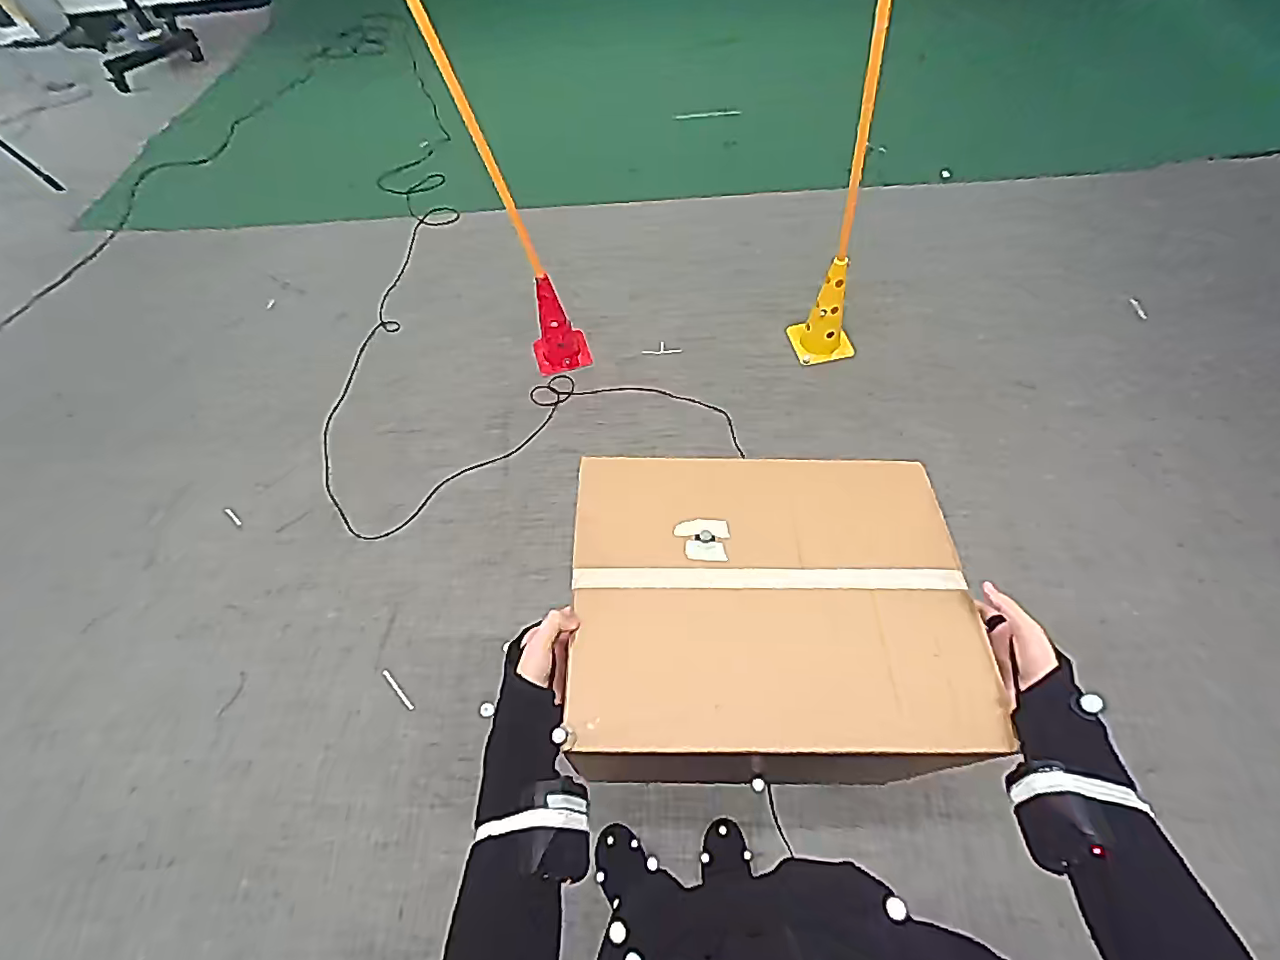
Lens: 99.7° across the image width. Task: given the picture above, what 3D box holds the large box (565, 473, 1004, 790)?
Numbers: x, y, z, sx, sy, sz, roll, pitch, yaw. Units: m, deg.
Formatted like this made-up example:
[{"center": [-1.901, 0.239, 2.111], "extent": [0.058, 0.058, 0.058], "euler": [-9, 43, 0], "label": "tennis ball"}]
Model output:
[{"center": [0.129, 0.204, 0.686], "extent": [0.408, 0.320, 0.320], "euler": [0, 55, -1], "label": "large box"}]
